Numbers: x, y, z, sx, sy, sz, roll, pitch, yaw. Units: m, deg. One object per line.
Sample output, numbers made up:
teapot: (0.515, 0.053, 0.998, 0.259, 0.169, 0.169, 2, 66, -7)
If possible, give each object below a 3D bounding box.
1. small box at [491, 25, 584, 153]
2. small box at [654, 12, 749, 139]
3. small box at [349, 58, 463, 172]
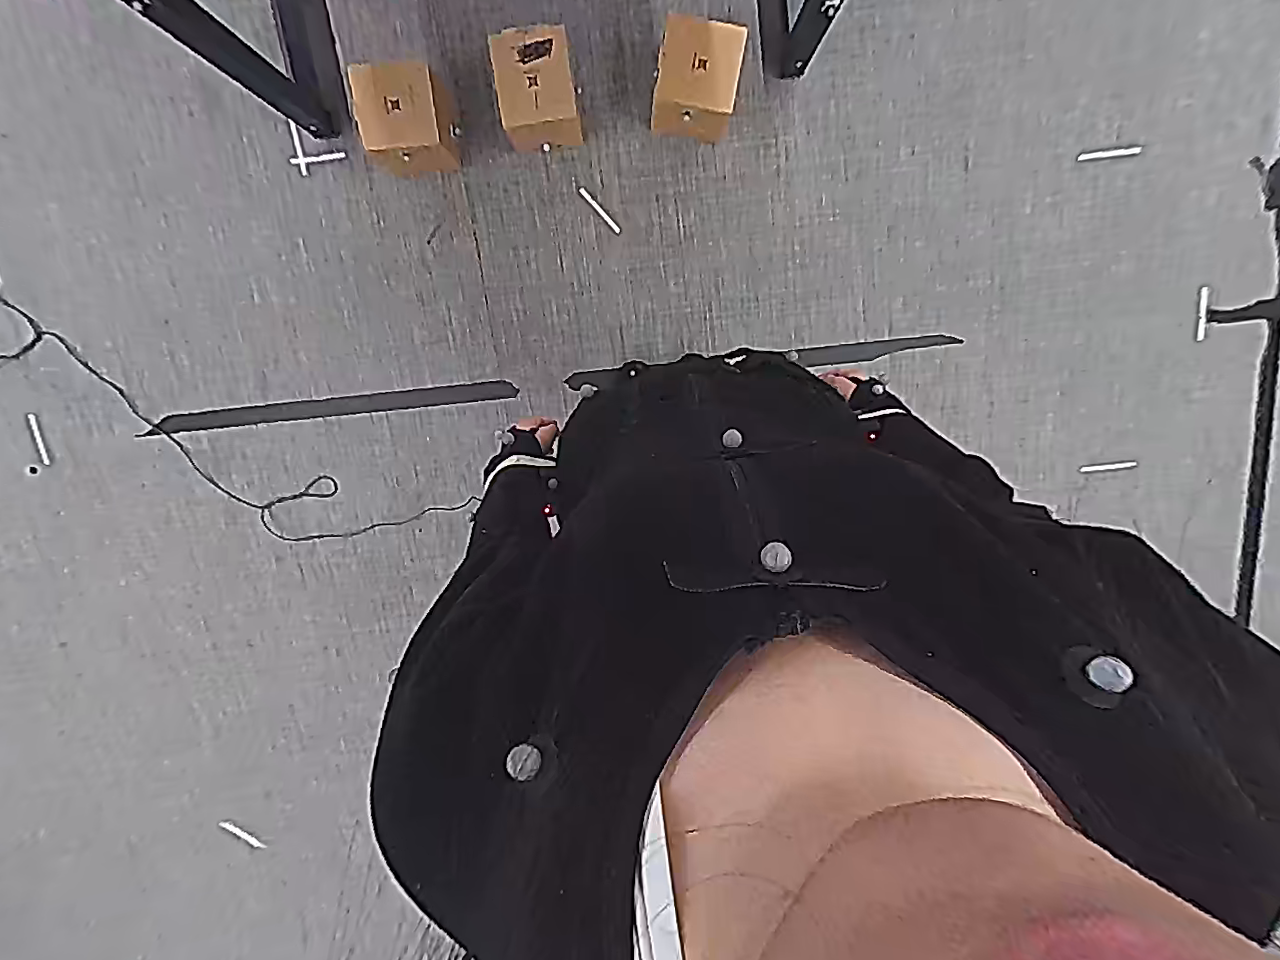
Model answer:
small box: (-0.225, -0.876, 1.226, 0.168, 0.176, 0.179, -7, 103, 2)
small box: (0.131, -0.902, 1.225, 0.179, 0.176, 0.168, 10, 103, -1)
small box: (-0.527, -0.824, 1.238, 0.179, 0.176, 0.168, -4, 103, 0)
